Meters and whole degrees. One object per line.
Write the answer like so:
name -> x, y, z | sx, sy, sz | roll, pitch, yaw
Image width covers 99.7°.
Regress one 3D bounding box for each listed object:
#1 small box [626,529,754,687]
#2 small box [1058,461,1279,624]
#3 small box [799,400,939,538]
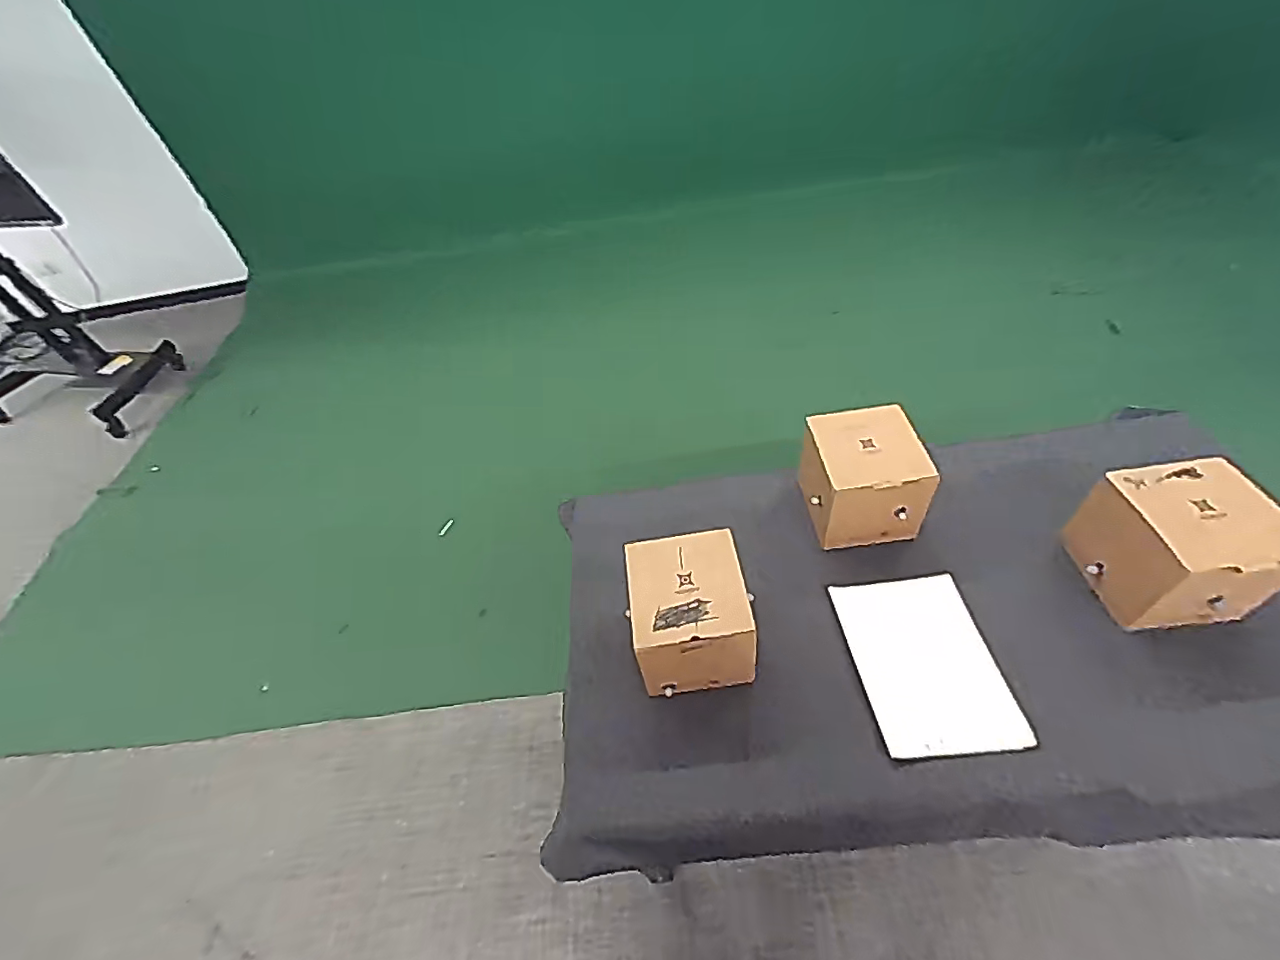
small box -> 0.077, 0.203, 0.832 | 0.168, 0.176, 0.179 | -9, 48, 2
small box -> 0.775, 0.100, 0.794 | 0.168, 0.176, 0.179 | -7, 49, 4
small box -> 0.385, -0.012, 0.944 | 0.168, 0.176, 0.179 | -8, 48, 2
